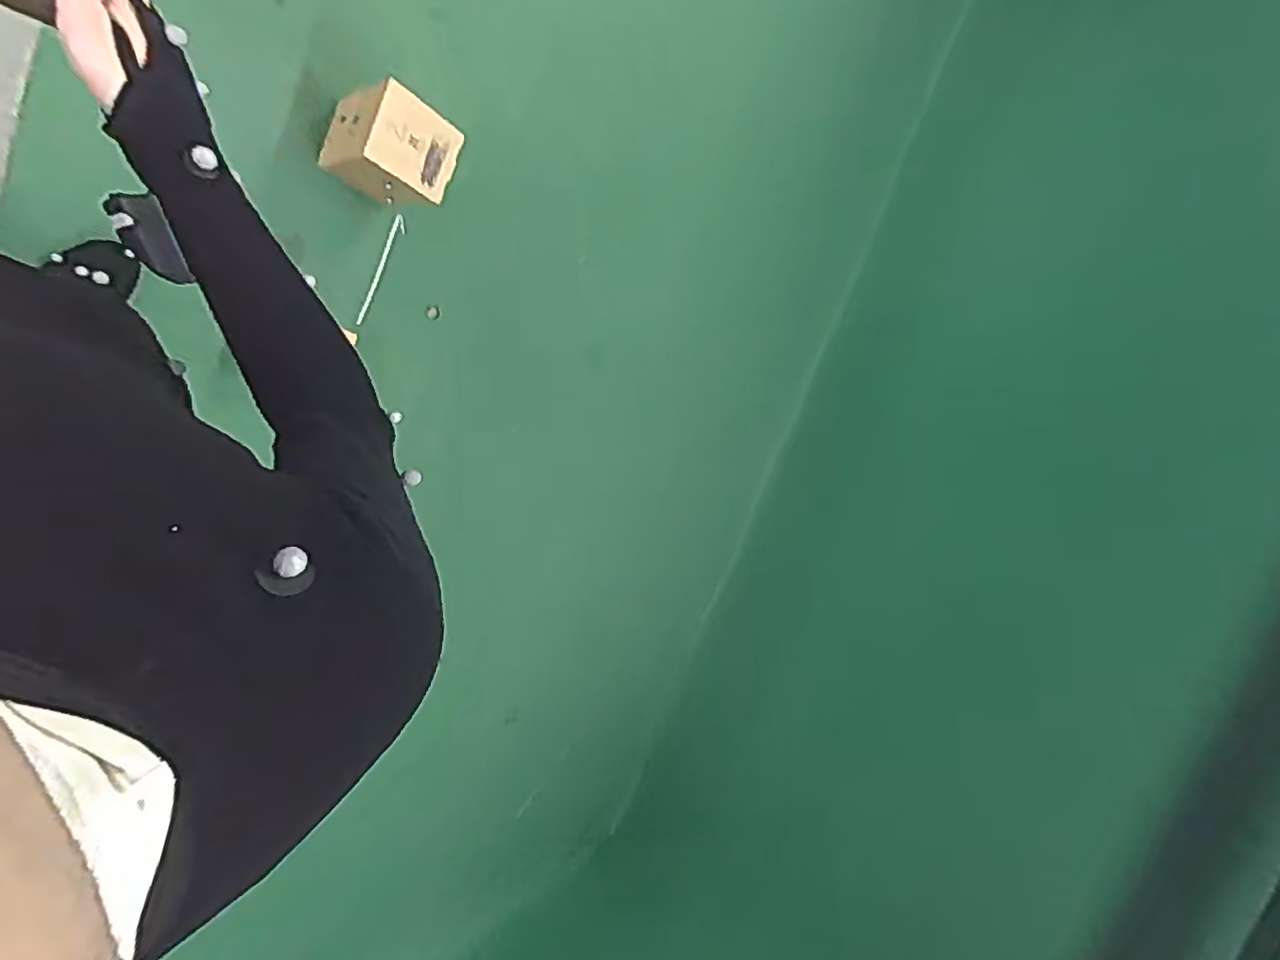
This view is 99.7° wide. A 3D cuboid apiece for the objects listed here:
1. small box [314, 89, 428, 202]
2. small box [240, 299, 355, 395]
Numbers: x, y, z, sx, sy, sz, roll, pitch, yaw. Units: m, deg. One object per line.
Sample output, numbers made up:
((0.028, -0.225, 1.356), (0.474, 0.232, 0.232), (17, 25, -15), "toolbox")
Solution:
((-0.656, -0.795, 1.310), (0.179, 0.176, 0.168), (18, 95, -50), "small box")
((-0.847, -0.331, 1.333), (0.179, 0.176, 0.168), (20, 94, -49), "small box")
